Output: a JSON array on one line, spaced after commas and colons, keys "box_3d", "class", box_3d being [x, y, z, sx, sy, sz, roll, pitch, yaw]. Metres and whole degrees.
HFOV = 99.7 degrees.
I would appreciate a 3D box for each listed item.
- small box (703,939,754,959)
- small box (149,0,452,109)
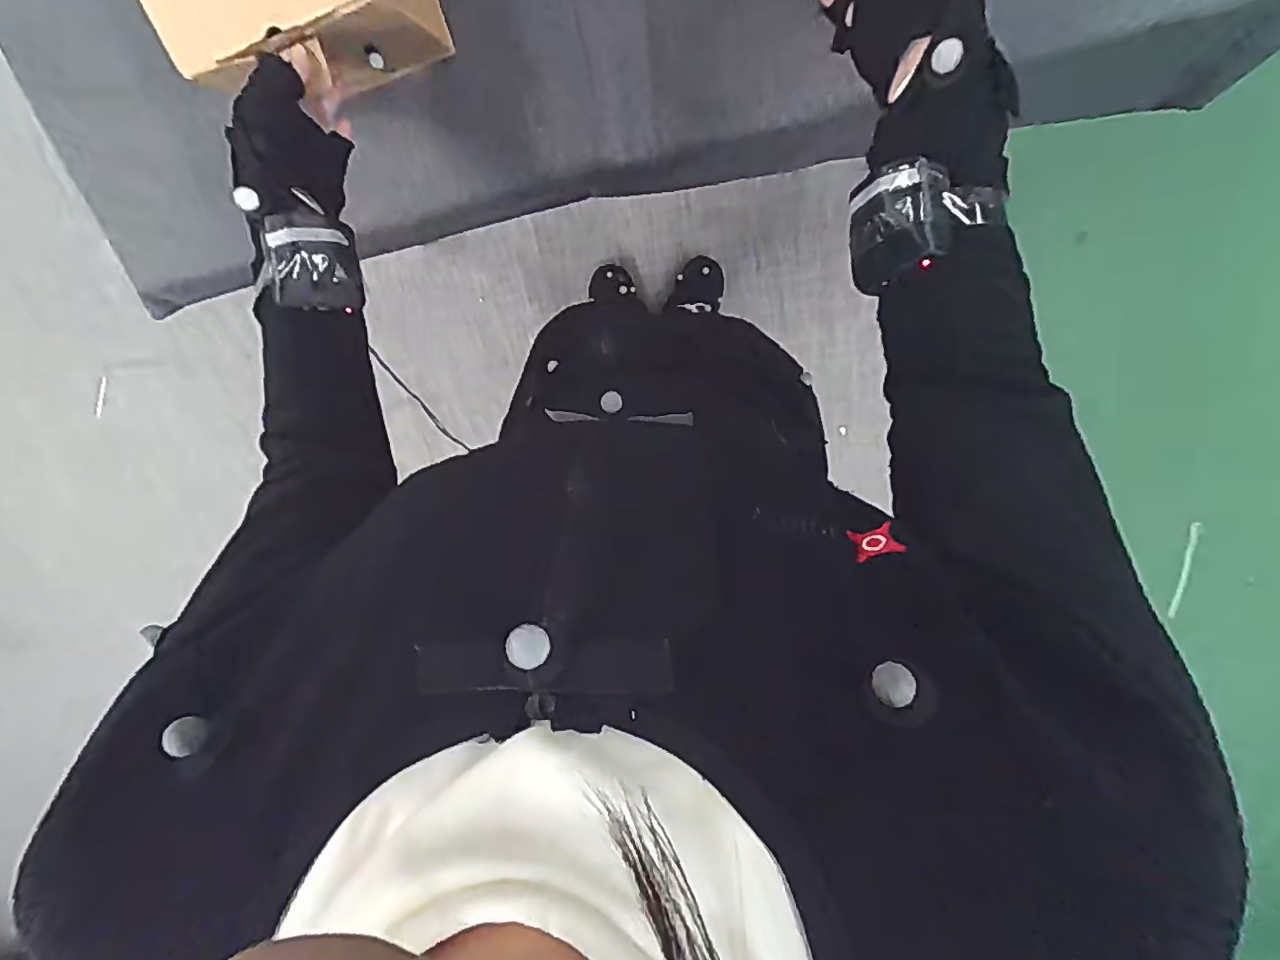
[{"box_3d": [0.316, 1.762, 1.904, 0.179, 0.176, 0.168, -9, 108, 11], "class": "small box"}, {"box_3d": [-0.283, -0.430, 0.439, 0.168, 0.176, 0.179, -15, 114, 11], "class": "small box"}]
